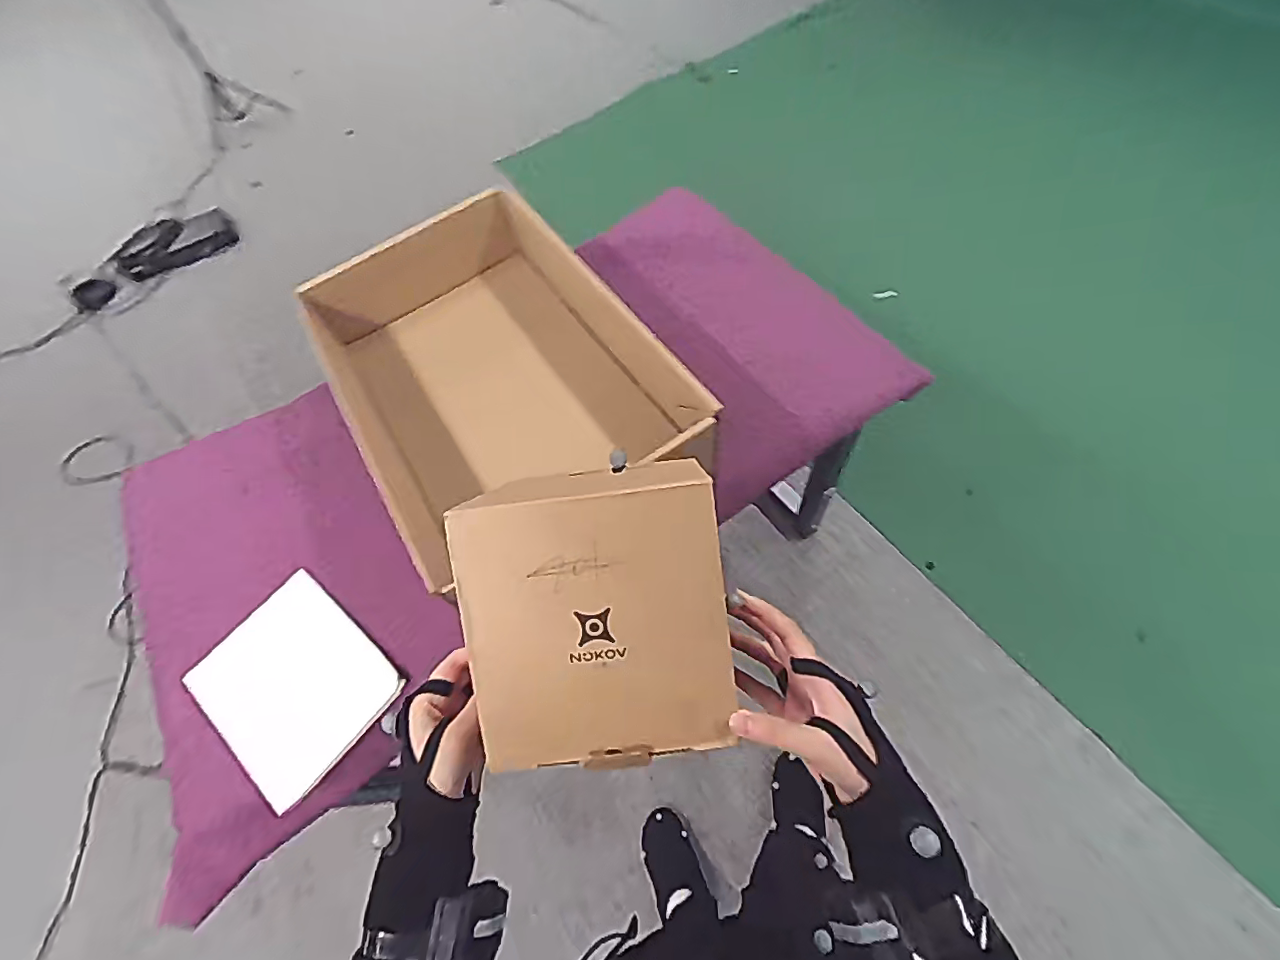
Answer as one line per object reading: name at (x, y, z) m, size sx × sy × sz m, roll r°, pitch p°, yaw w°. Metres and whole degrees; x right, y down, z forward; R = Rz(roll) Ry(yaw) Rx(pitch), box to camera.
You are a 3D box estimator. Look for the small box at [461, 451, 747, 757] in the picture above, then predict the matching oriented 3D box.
small box at (-0.017, 0.076, 0.410) m, size 0.168 × 0.176 × 0.179 m, roll -5°, pitch 96°, yaw 3°
